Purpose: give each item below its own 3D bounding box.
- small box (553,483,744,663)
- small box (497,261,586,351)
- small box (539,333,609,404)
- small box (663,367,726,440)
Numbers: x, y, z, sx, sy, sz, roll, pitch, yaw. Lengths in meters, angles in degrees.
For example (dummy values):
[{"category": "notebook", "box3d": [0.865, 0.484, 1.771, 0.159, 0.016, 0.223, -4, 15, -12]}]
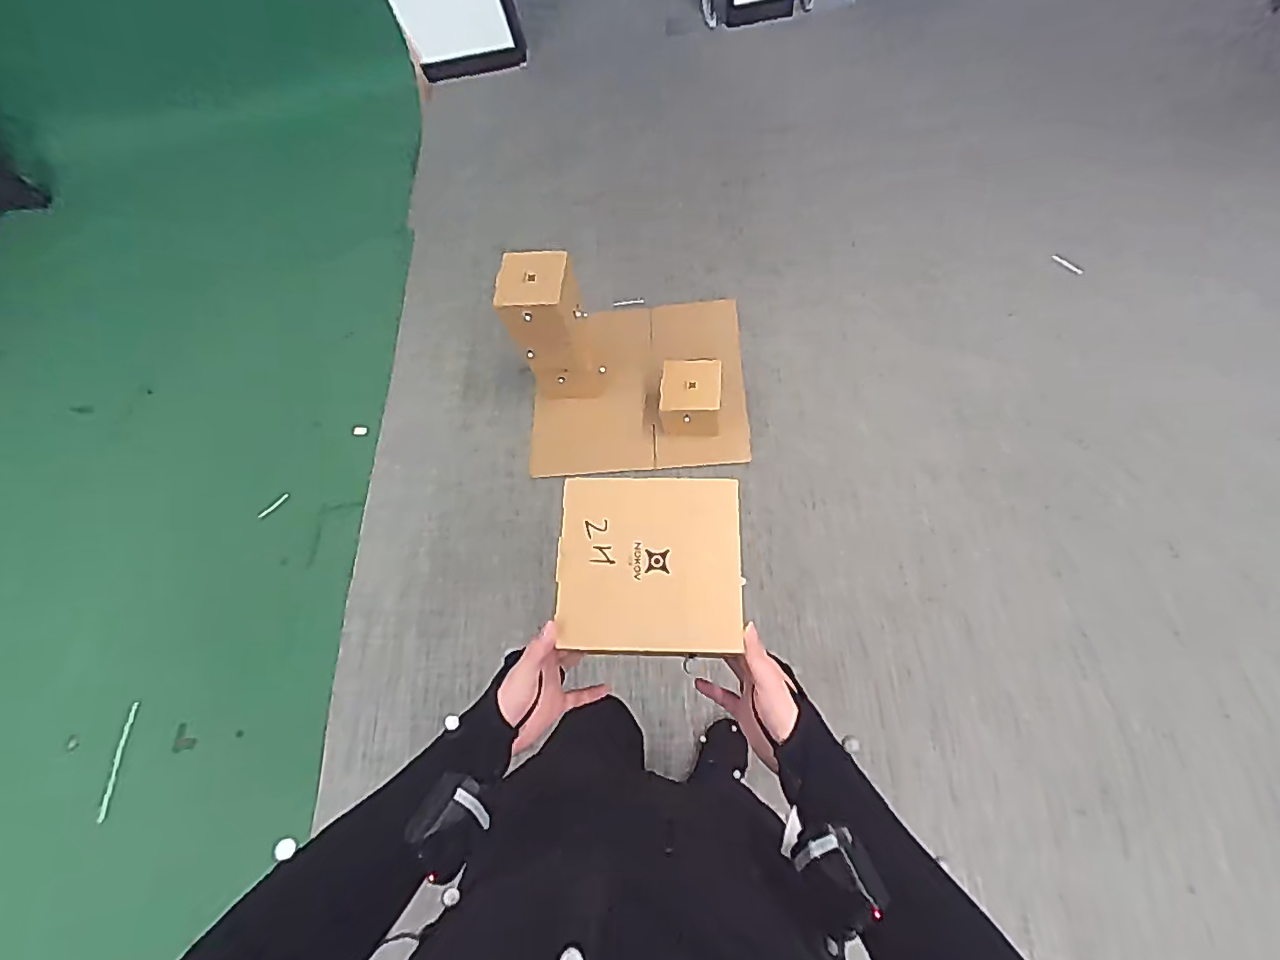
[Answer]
[{"category": "small box", "box3d": [0.015, 0.108, 0.590, 0.179, 0.176, 0.168, 0, 70, 5]}, {"category": "small box", "box3d": [-0.256, -0.460, 1.444, 0.179, 0.176, 0.168, 2, 70, 10]}, {"category": "small box", "box3d": [-0.208, -0.357, 1.751, 0.179, 0.176, 0.168, 0, 69, 9]}, {"category": "small box", "box3d": [0.170, -0.228, 1.637, 0.179, 0.176, 0.168, 0, 69, 11]}]
